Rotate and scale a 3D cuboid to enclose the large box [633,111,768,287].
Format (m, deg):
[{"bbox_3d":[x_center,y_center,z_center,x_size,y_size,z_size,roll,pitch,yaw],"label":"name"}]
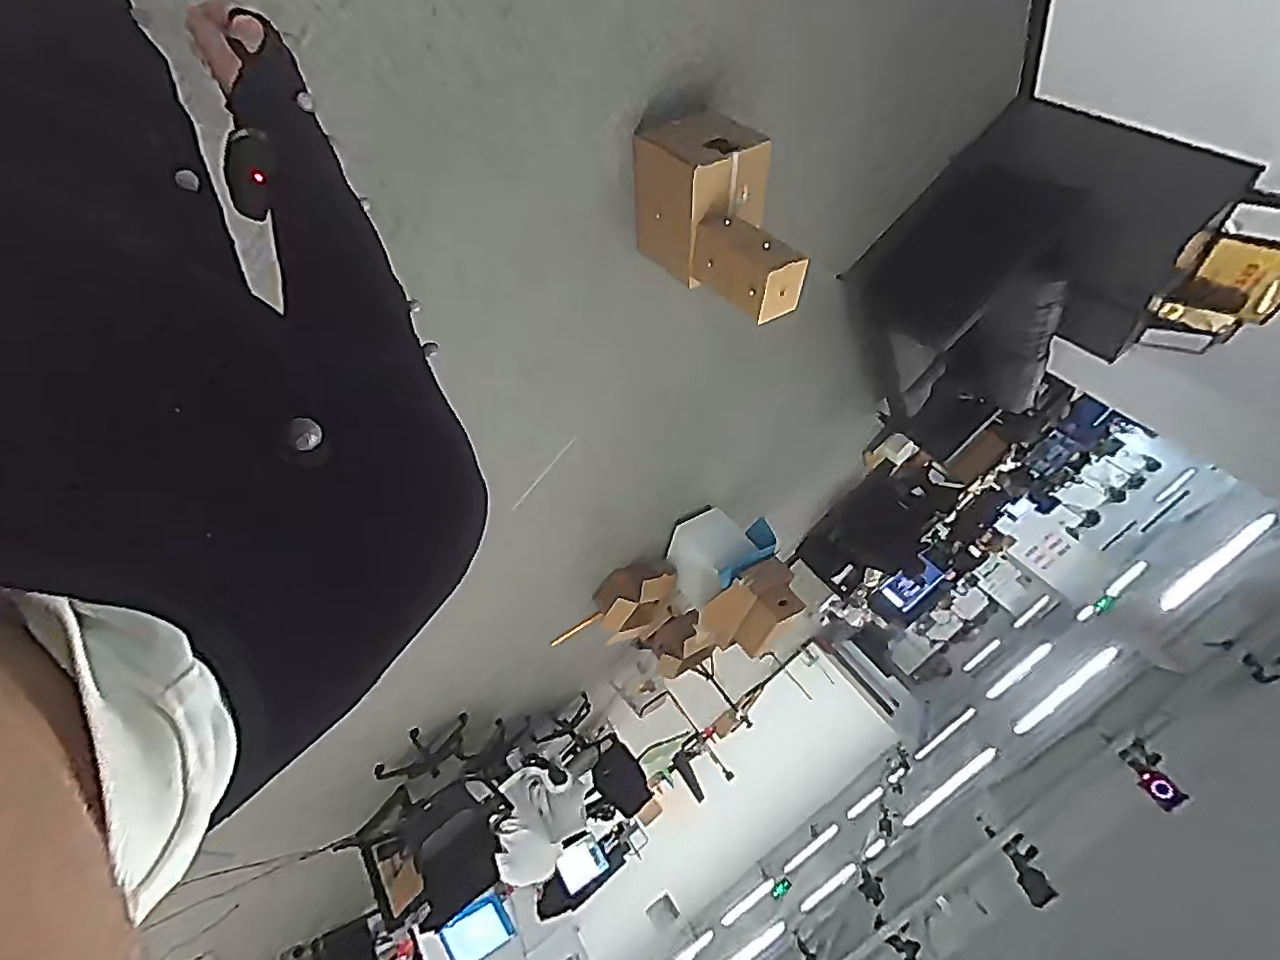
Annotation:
[{"bbox_3d":[0.193,-0.948,1.833,0.320,0.320,0.408,-32,148,-19],"label":"large box"}]

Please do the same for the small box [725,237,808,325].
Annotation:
[{"bbox_3d":[0.382,-0.615,1.665,0.168,0.176,0.179,-27,146,-21],"label":"small box"}]
